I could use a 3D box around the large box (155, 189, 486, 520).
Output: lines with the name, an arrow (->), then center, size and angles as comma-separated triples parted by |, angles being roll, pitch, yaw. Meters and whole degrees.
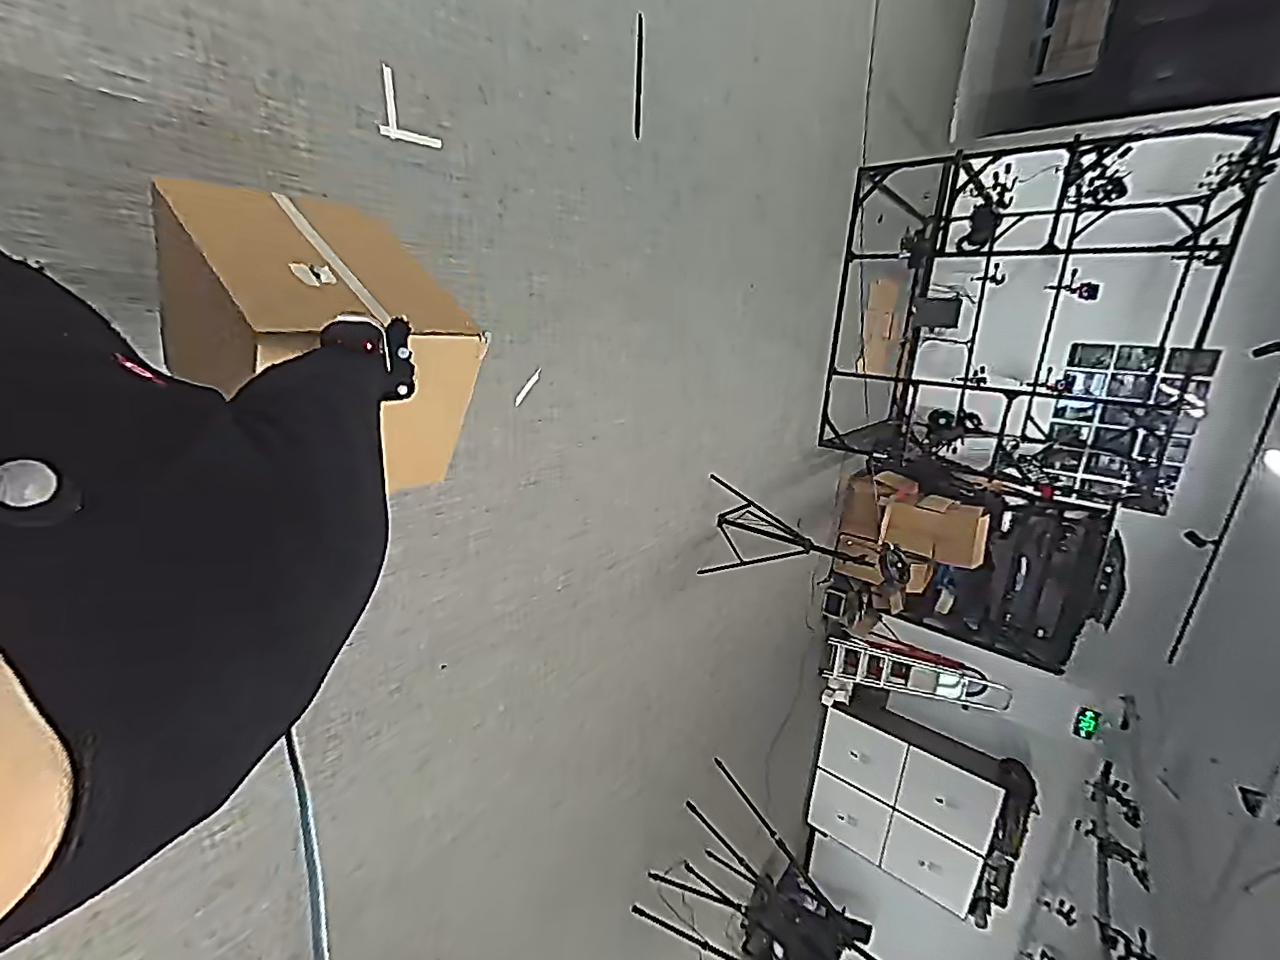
large box -> -0.534, -0.204, 0.894 | 0.320, 0.408, 0.320 | -18, 147, -49
